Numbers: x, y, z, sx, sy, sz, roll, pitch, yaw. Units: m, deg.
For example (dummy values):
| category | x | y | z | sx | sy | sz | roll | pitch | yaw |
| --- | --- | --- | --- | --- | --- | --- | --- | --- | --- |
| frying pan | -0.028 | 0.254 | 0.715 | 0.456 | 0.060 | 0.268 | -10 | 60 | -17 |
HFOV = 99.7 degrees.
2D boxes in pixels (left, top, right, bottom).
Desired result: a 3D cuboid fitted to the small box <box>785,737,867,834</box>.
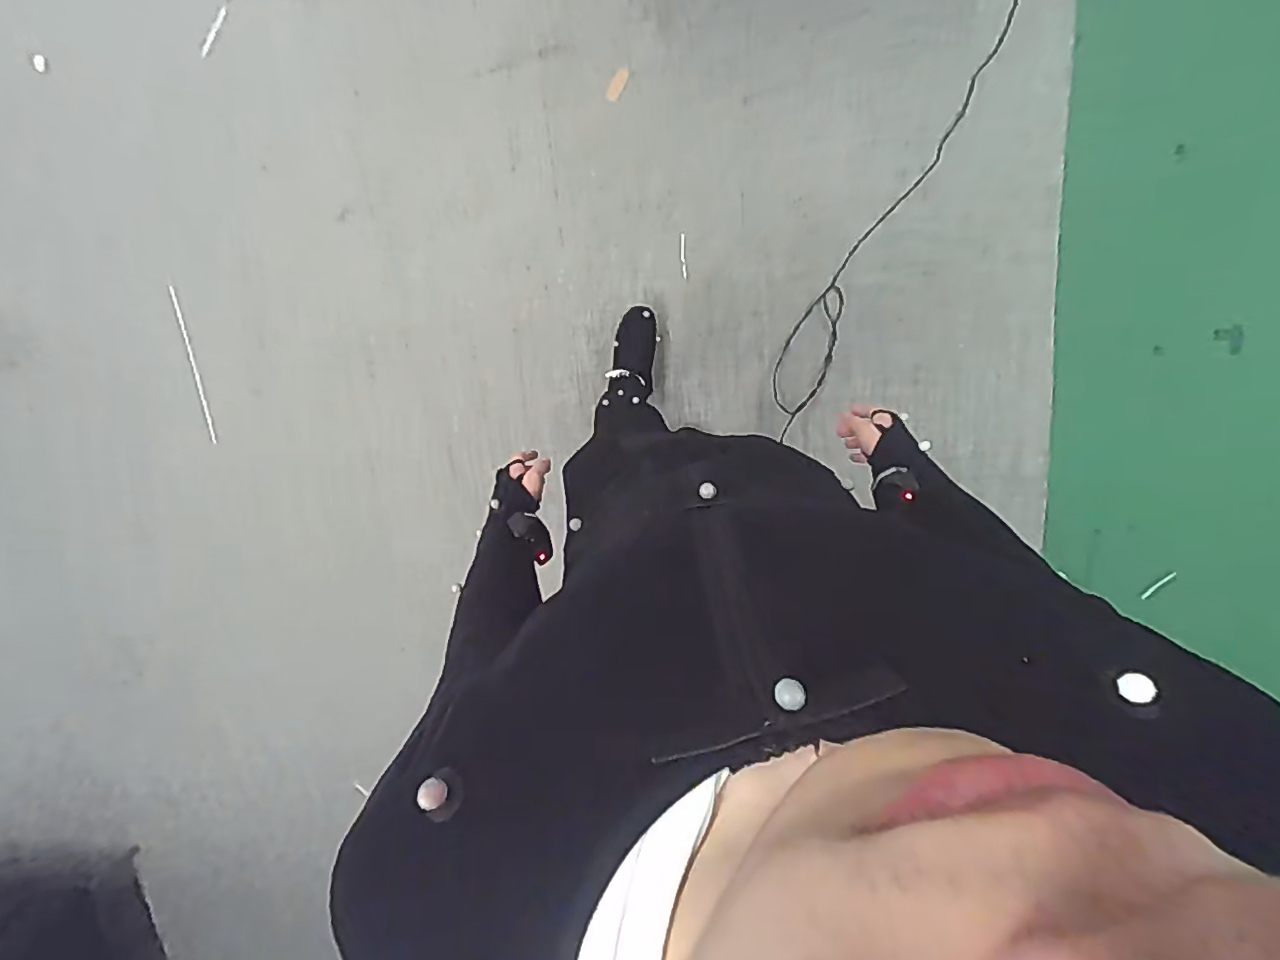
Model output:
| category | x | y | z | sx | sy | sz | roll | pitch | yaw |
| --- | --- | --- | --- | --- | --- | --- | --- | --- | --- |
| small box | 0.514 | 0.851 | 1.520 | 0.179 | 0.176 | 0.168 | 3 | 103 | 3 |

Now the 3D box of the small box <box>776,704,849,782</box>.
| category | x | y | z | sx | sy | sz | roll | pitch | yaw |
| --- | --- | --- | --- | --- | --- | --- | --- | --- | --- |
| small box | 0.528 | 0.823 | 1.684 | 0.179 | 0.176 | 0.168 | 4 | 102 | 3 |
